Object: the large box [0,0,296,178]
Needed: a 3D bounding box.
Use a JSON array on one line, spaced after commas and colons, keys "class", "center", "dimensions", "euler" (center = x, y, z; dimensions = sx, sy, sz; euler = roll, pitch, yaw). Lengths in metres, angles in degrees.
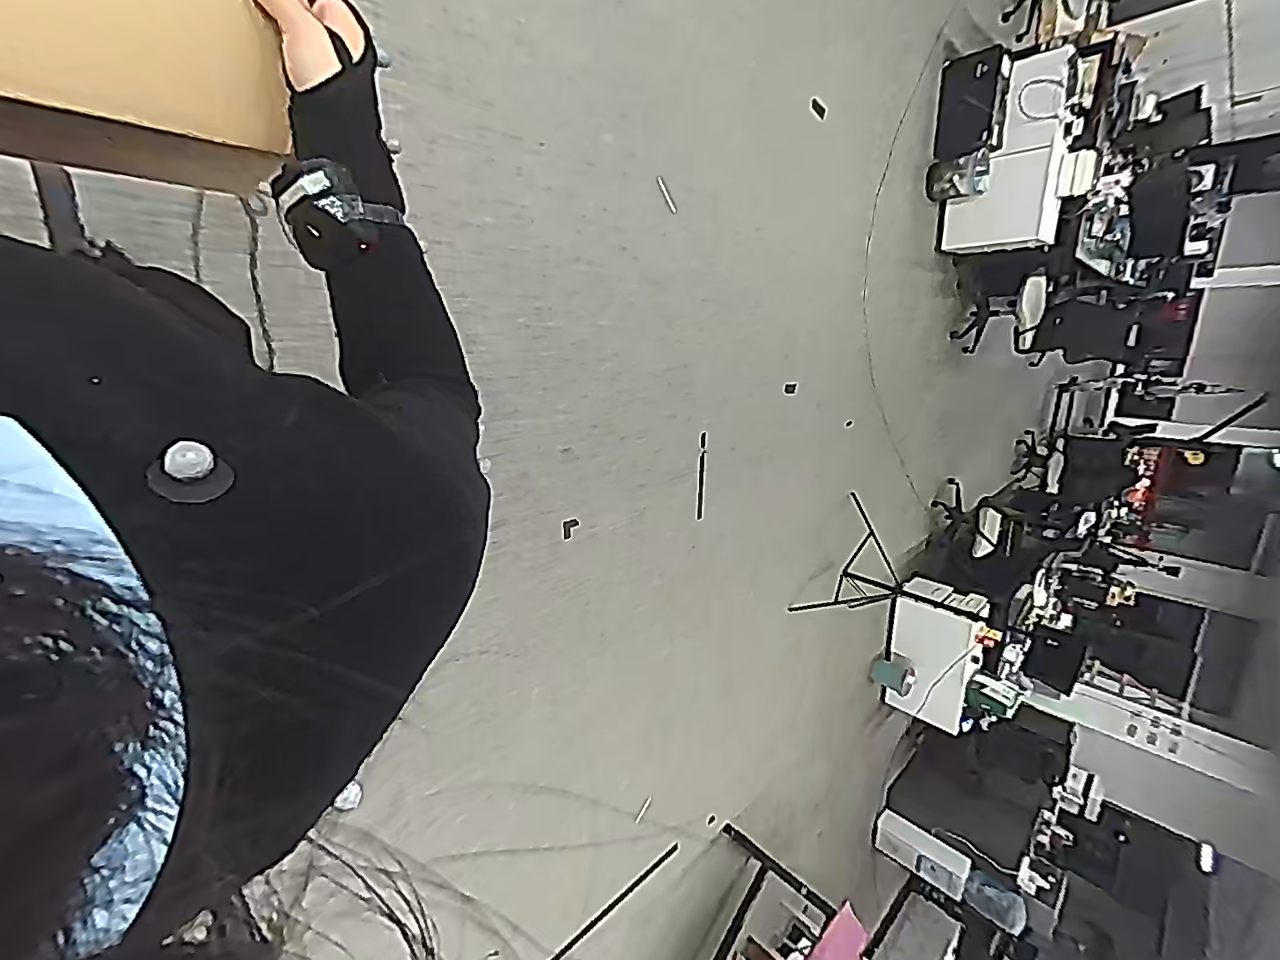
[{"class": "large box", "center": [-0.509, -0.423, 0.363], "dimensions": [0.408, 0.320, 0.320], "euler": [-11, 113, -41]}]
